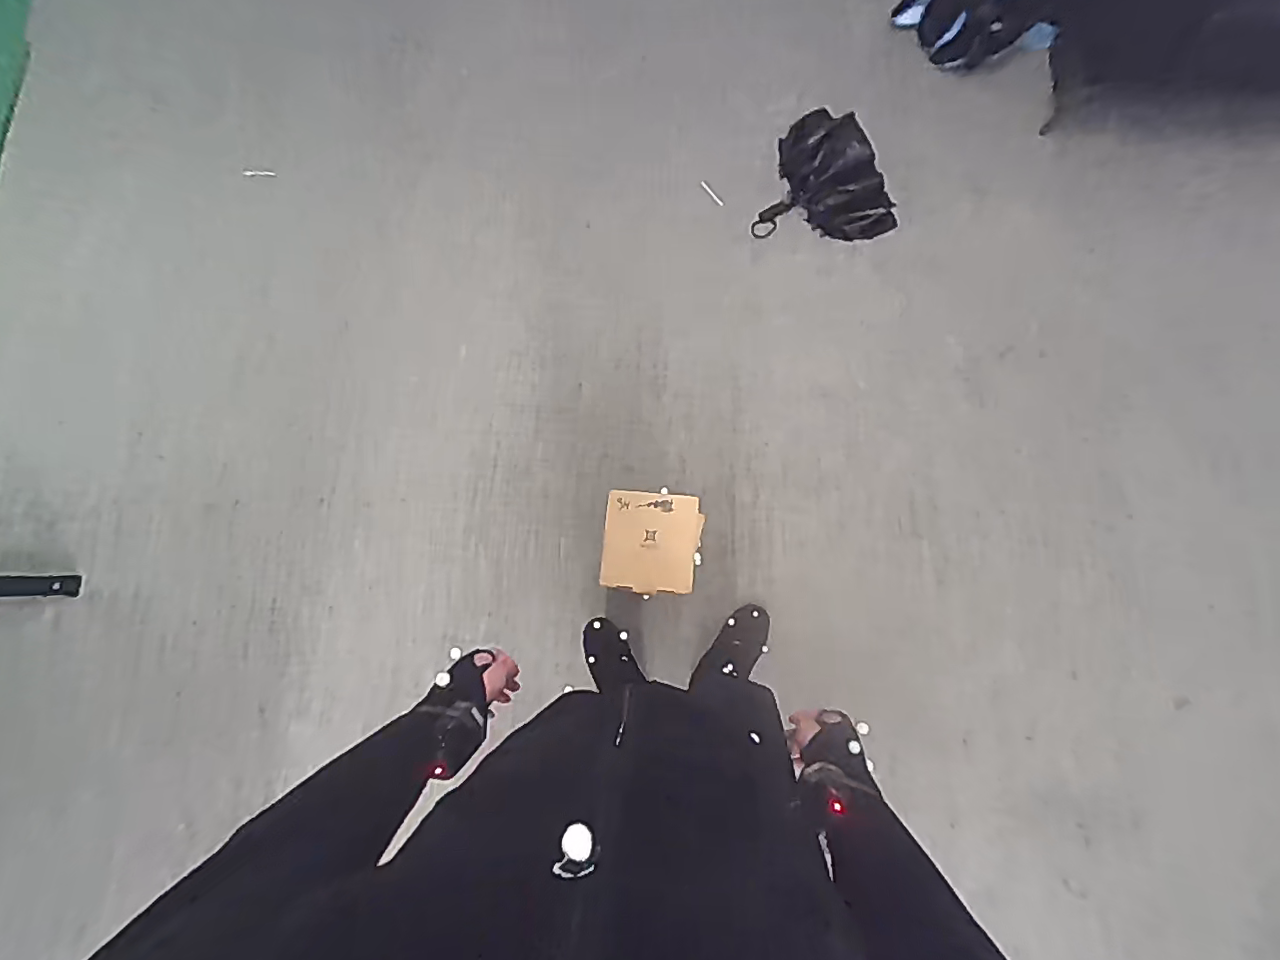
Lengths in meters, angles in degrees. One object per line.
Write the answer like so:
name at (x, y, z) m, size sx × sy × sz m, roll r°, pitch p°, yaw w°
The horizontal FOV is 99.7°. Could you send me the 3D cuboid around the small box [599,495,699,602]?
small box at (0.022, 0.135, 1.050) m, size 0.168 × 0.176 × 0.179 m, roll 6°, pitch 80°, yaw 4°
